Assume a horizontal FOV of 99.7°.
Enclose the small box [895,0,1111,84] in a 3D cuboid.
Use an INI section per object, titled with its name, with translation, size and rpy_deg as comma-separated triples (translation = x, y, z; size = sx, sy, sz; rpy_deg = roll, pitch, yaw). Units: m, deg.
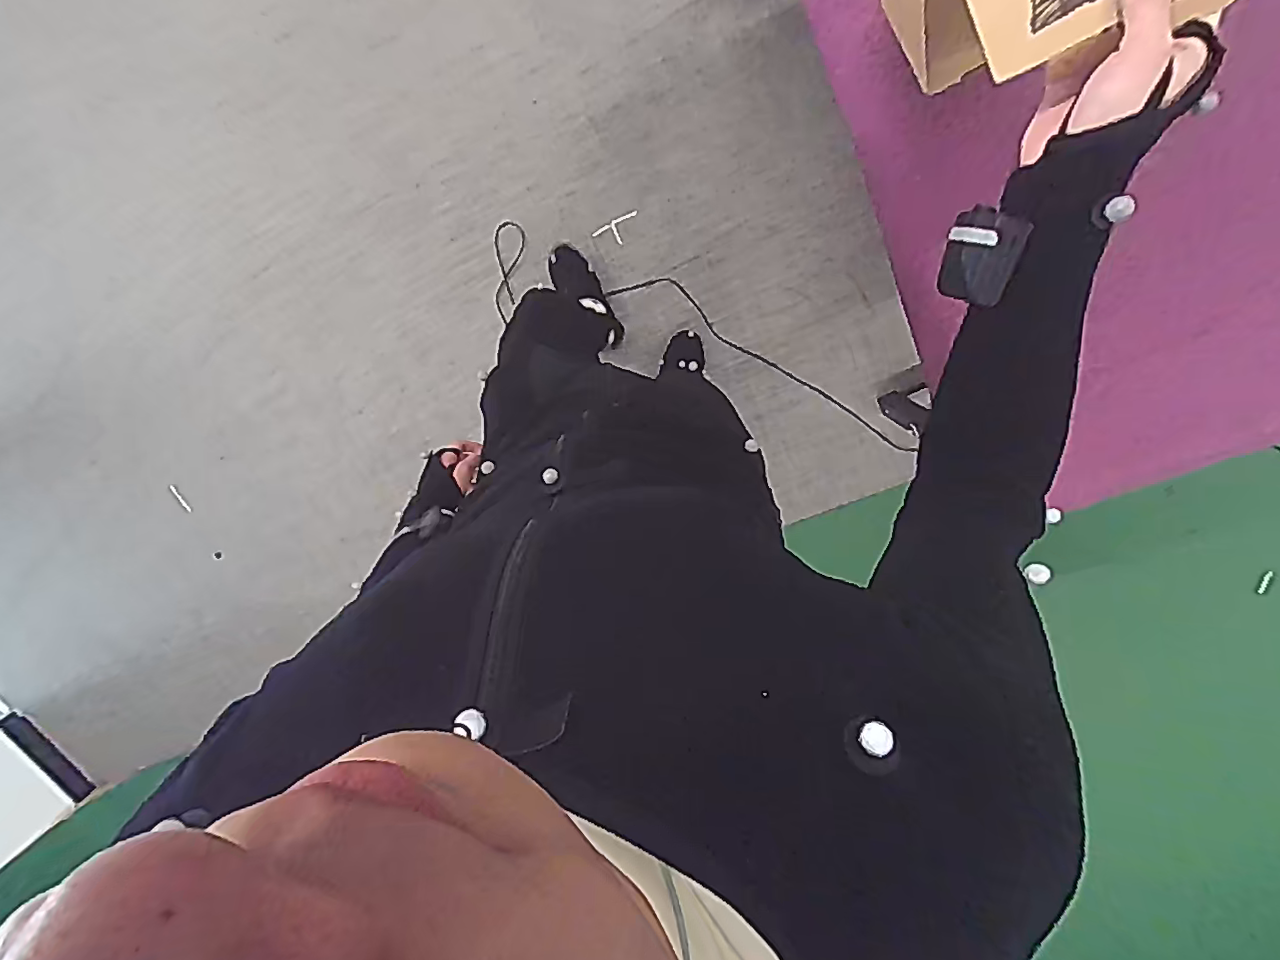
[small box]
translation = 0.308, -0.503, 0.454
size = 0.168, 0.179, 0.176
rpy_deg = -16, 63, 23
